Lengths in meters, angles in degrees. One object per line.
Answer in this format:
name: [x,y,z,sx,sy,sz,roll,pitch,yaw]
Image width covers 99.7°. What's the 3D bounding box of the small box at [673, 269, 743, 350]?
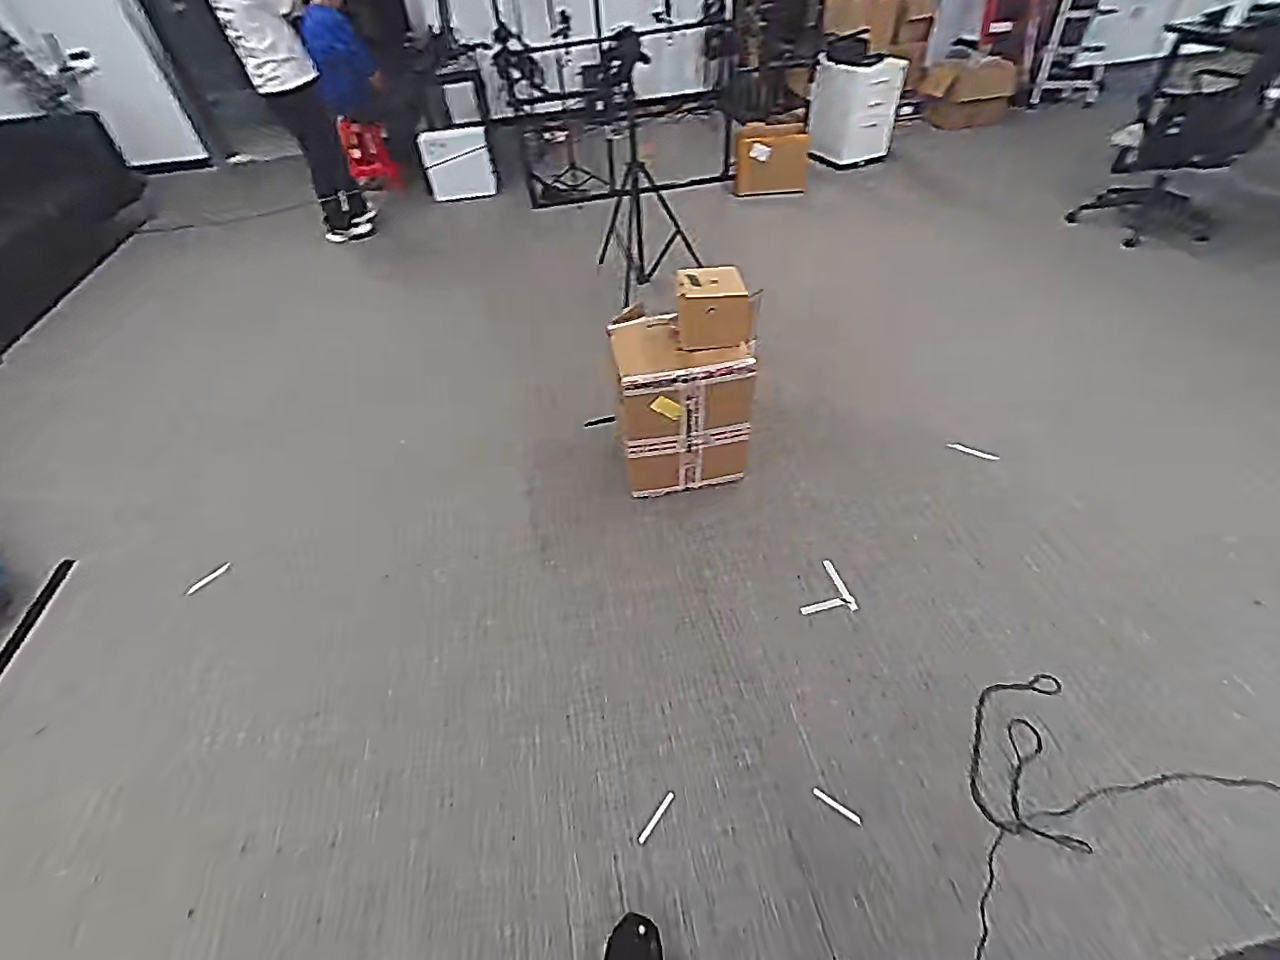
small box: [0.192,-0.497,1.588,0.179,0.176,0.168,-5,48,-3]
